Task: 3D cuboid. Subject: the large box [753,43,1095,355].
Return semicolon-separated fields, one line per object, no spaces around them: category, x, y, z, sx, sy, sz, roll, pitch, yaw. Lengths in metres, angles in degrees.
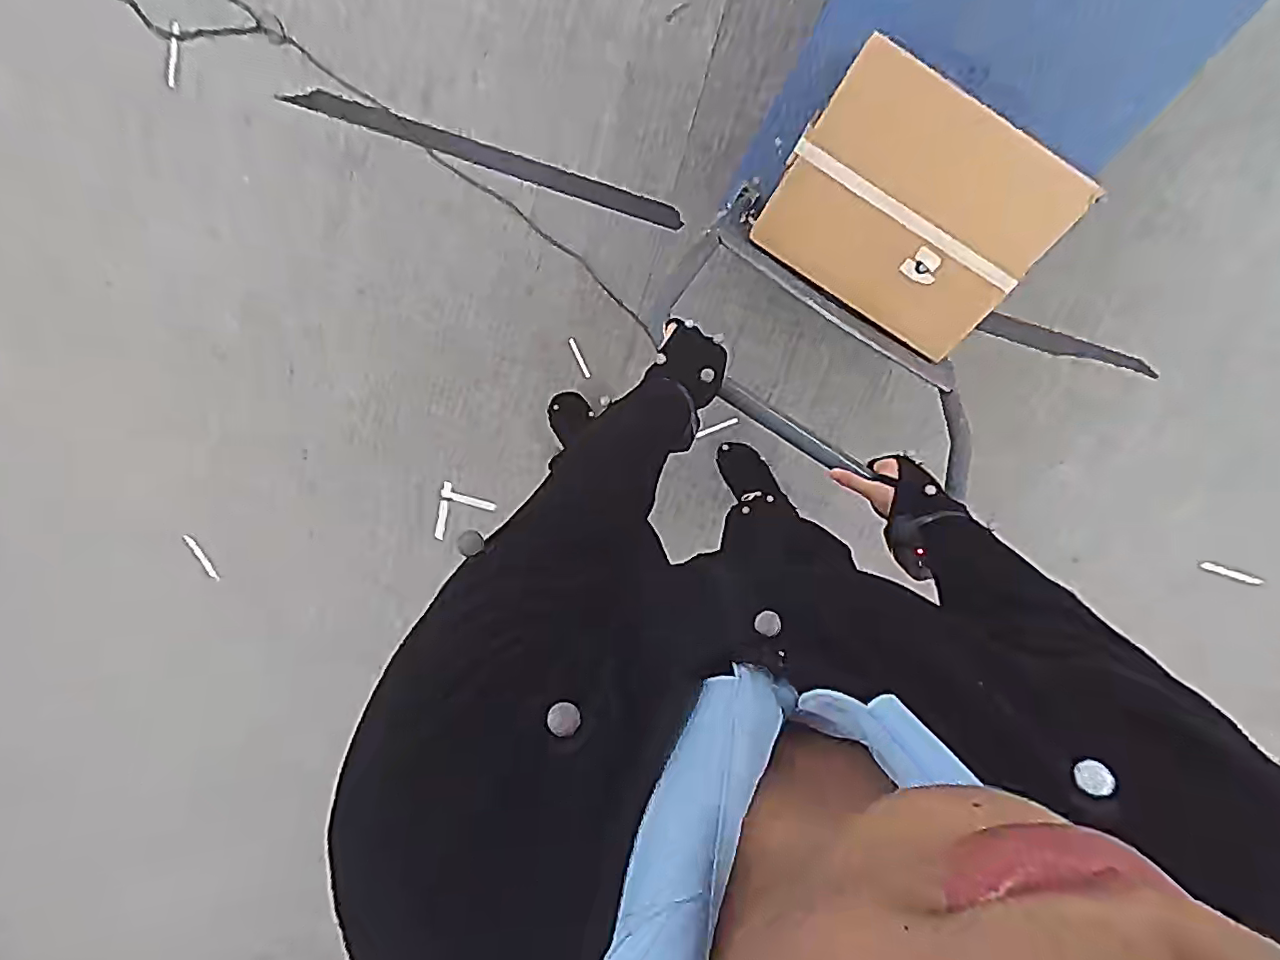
large box;0.468;-0.502;0.985;0.408;0.320;0.320;32;128;-3
